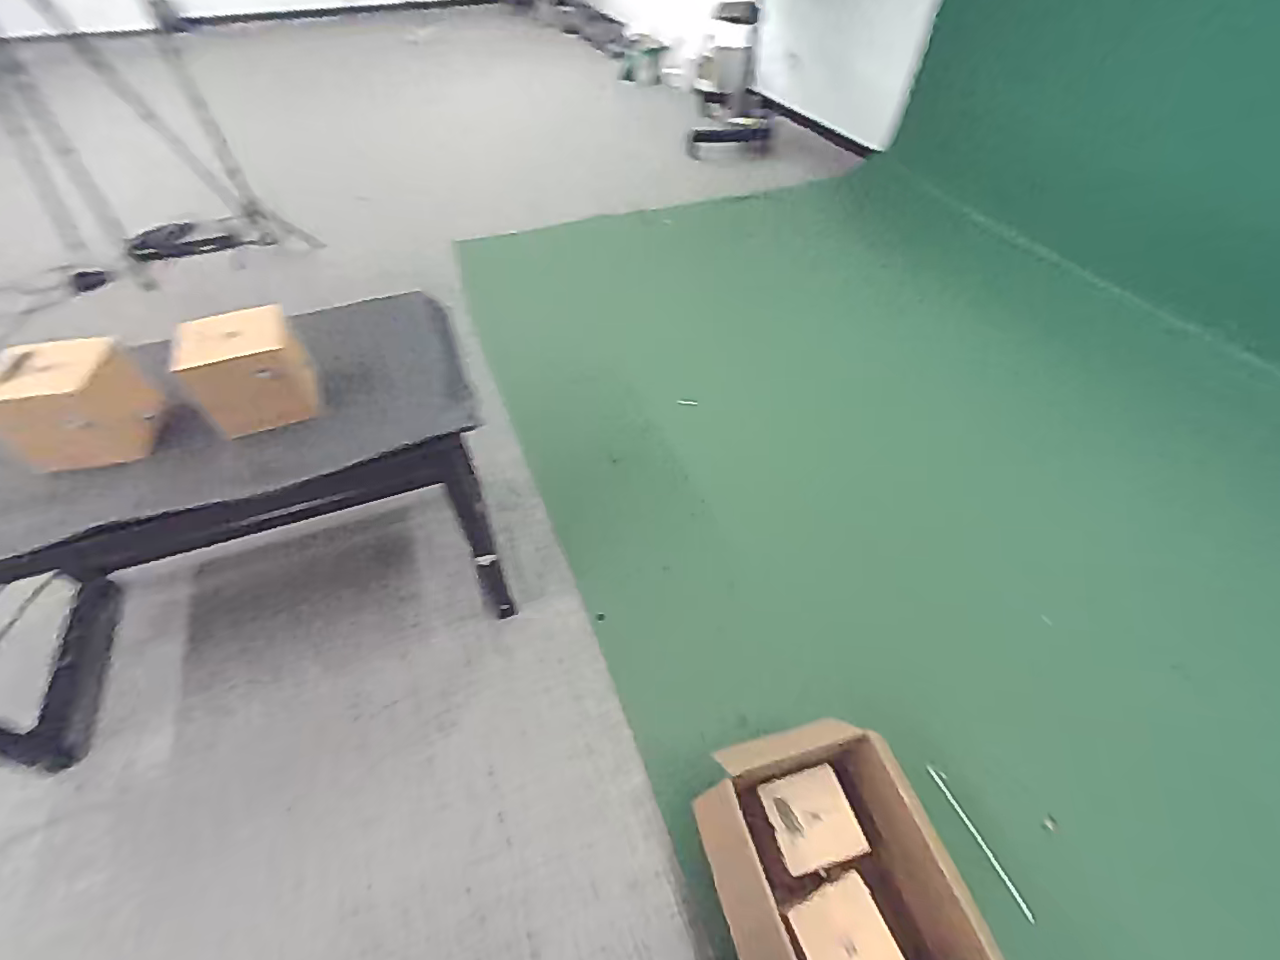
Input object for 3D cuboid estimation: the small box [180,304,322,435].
[{"bbox_3d":[-0.749,-0.216,1.064,0.179,0.176,0.168,-19,51,-15],"label":"small box"}]
